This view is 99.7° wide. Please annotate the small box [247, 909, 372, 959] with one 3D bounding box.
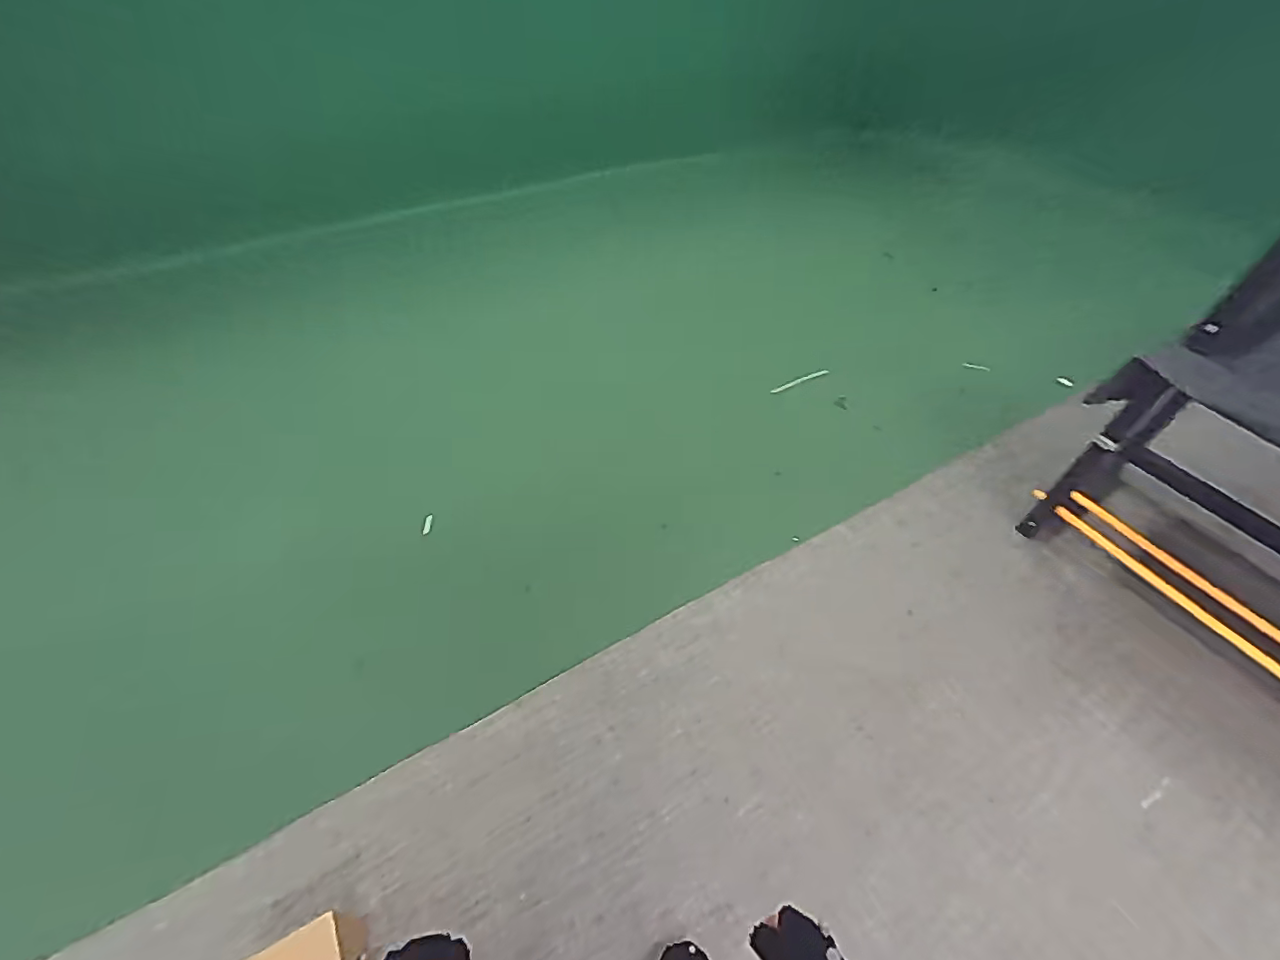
[{"bbox_3d":[-0.612,0.949,1.011,0.179,0.176,0.168,-23,52,-20],"label":"small box"}]
